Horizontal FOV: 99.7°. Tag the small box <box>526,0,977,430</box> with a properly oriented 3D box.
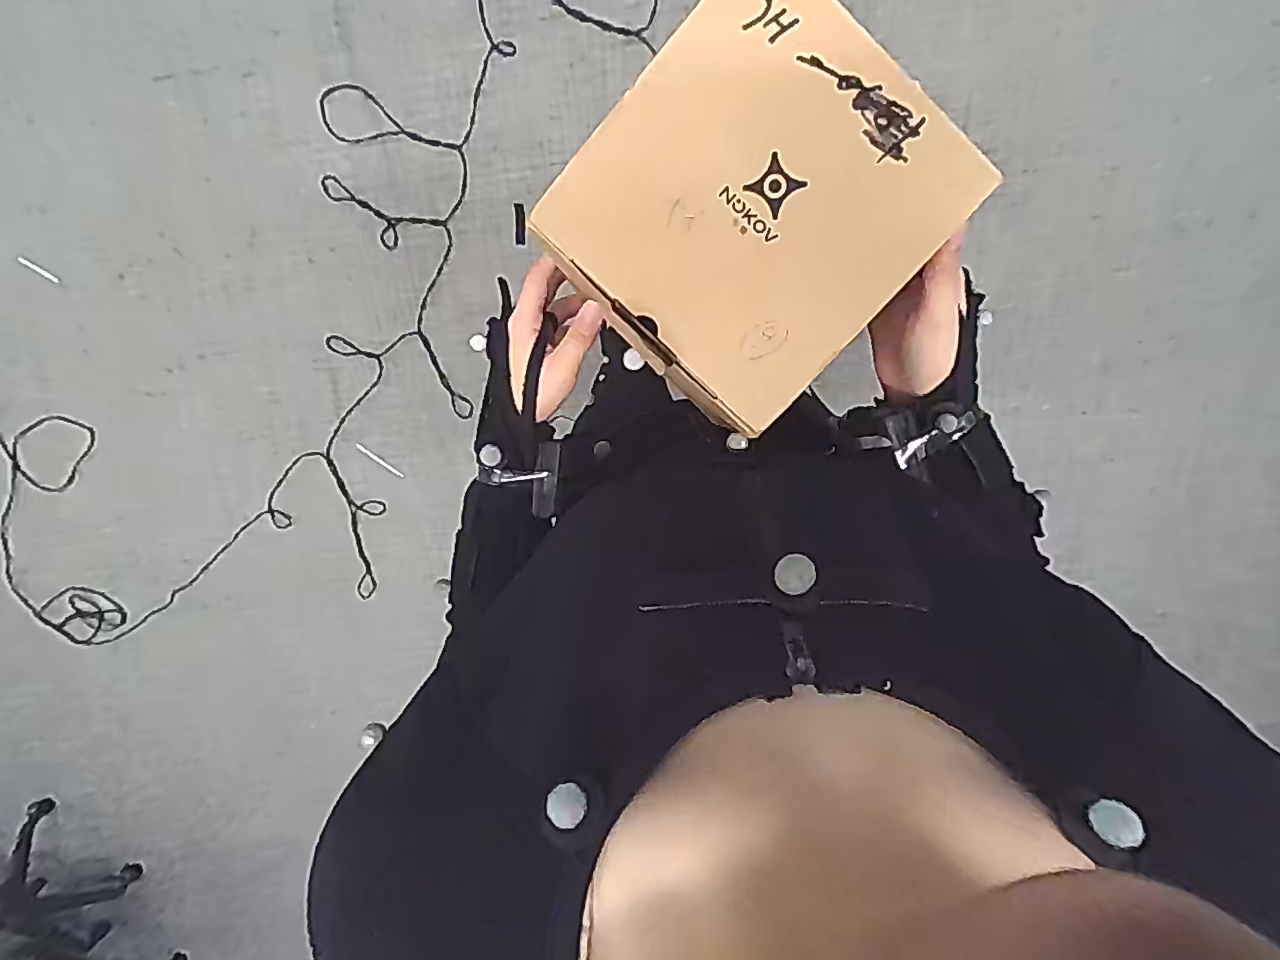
[{"bbox_3d":[0.059,-0.153,0.357,0.168,0.176,0.179,42,98,-4],"label":"small box"}]
